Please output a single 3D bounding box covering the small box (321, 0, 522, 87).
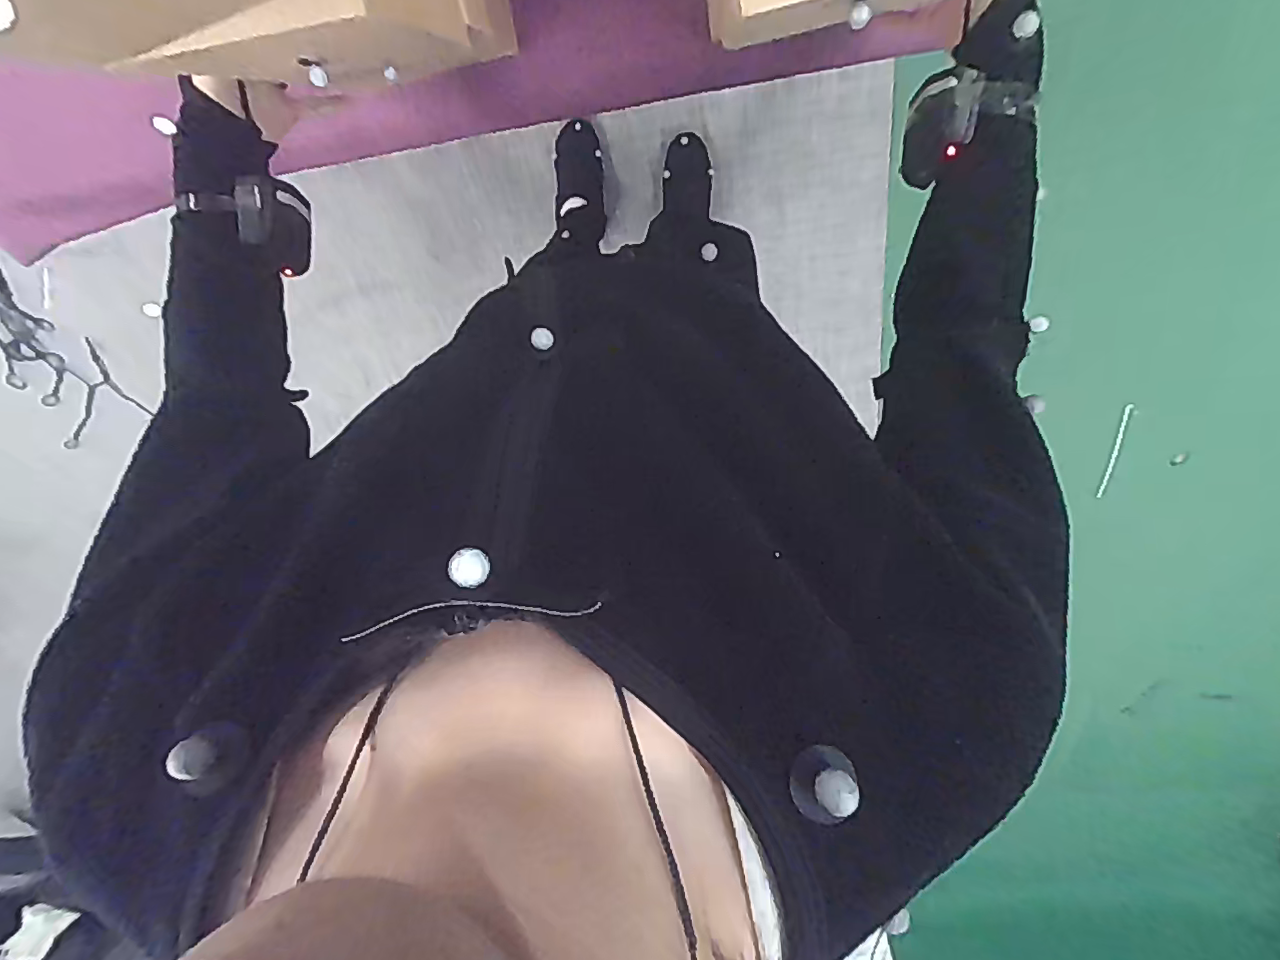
[{"bbox_3d":[-0.220,-0.451,0.457,0.179,0.176,0.168,-6,122,8],"label":"small box"}]

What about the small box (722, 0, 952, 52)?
[{"bbox_3d":[0.124,-0.362,0.287,0.168,0.176,0.179,-7,122,10],"label":"small box"}]

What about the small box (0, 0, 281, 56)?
[{"bbox_3d":[-0.241,-0.273,0.184,0.179,0.176,0.168,-9,123,12],"label":"small box"}]

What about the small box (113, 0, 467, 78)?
[{"bbox_3d":[-0.225,-0.357,0.323,0.168,0.176,0.179,-4,123,7],"label":"small box"}]

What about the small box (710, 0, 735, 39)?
[{"bbox_3d":[0.135,-0.468,0.414,0.179,0.176,0.168,-8,123,10],"label":"small box"}]
